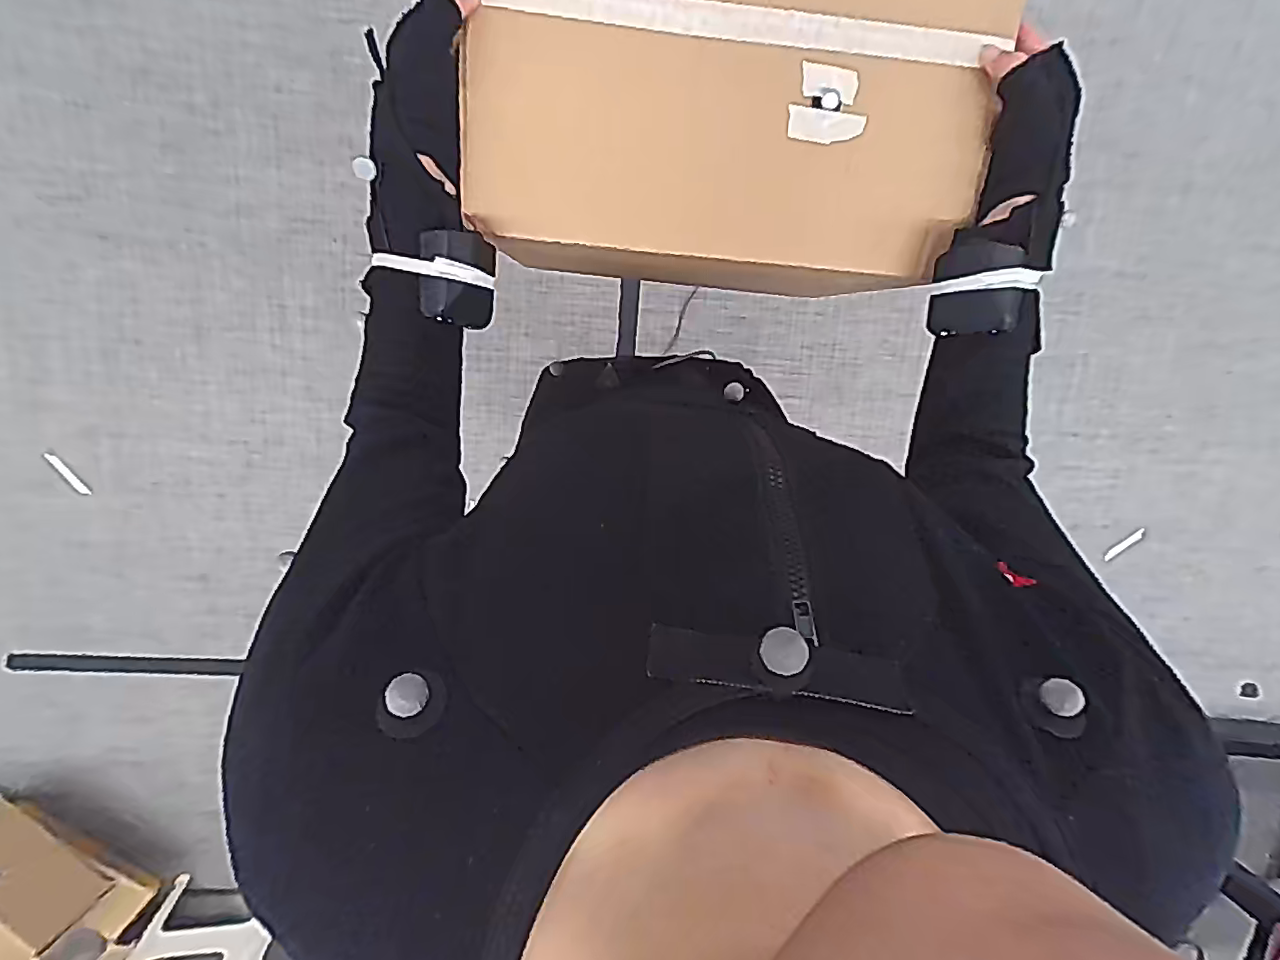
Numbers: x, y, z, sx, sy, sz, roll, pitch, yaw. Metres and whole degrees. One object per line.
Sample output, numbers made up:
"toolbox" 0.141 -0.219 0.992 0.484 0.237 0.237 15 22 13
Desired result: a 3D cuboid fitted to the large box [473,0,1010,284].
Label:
"large box" 0.065 -0.381 0.540 0.408 0.320 0.320 3 108 -6
